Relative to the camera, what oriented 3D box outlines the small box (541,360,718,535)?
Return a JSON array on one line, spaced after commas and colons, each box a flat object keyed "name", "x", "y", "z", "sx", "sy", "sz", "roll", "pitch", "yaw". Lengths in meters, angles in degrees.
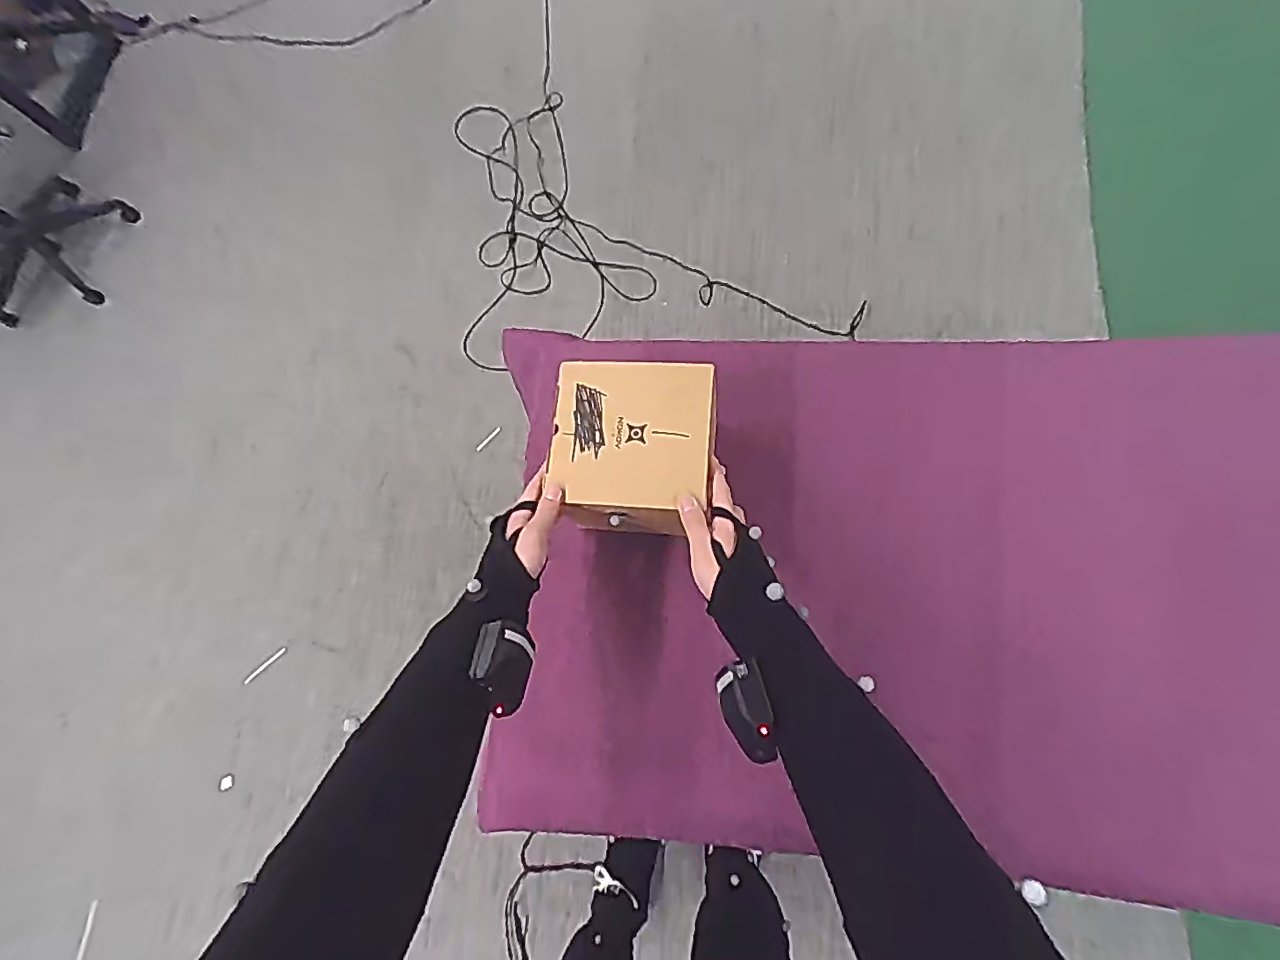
[{"name": "small box", "x": 0.000, "y": -0.031, "z": 0.649, "sx": 0.179, "sy": 0.176, "sz": 0.168, "roll": 3, "pitch": 76, "yaw": 9}]
